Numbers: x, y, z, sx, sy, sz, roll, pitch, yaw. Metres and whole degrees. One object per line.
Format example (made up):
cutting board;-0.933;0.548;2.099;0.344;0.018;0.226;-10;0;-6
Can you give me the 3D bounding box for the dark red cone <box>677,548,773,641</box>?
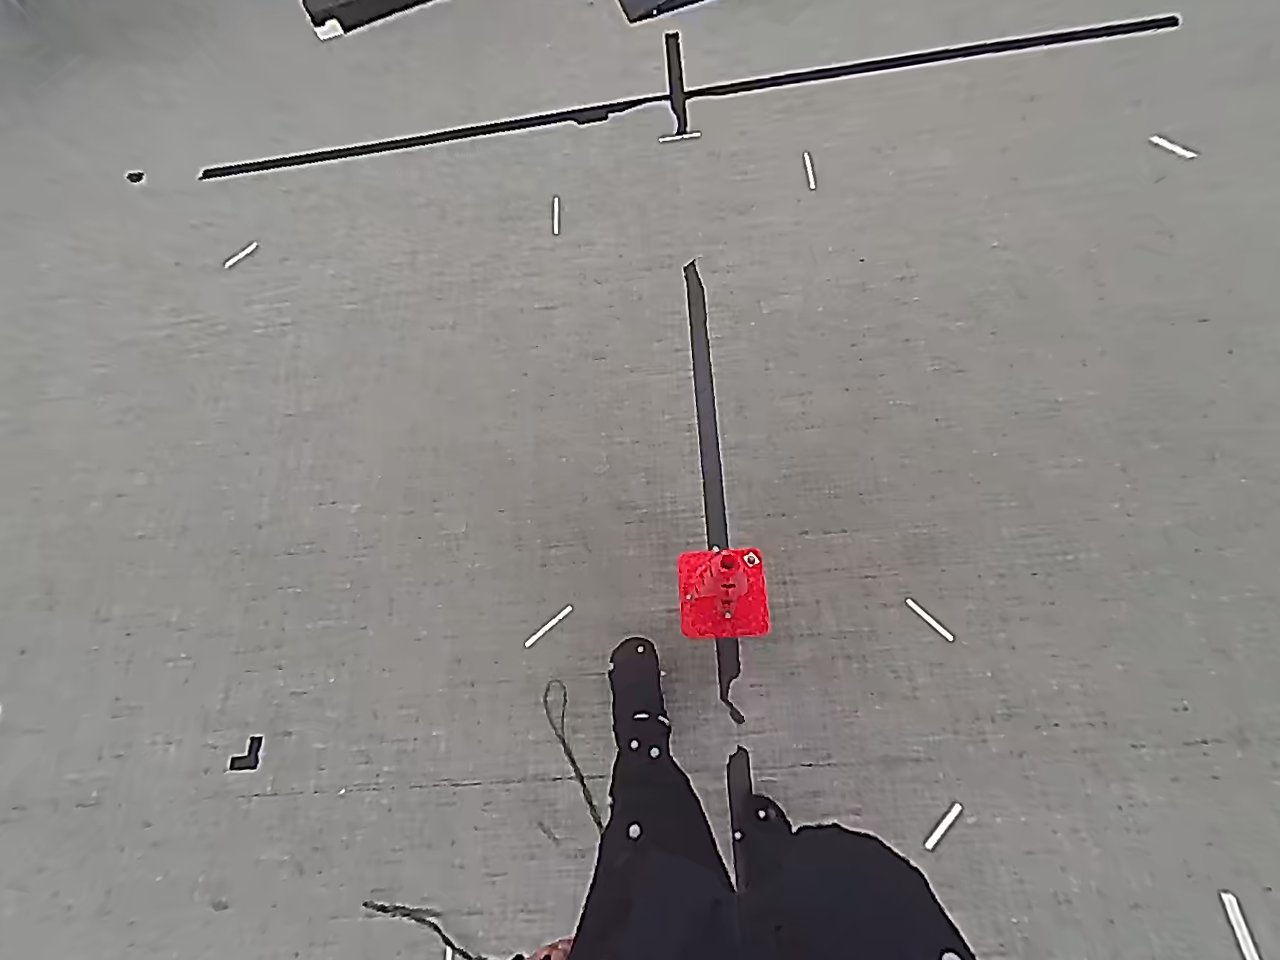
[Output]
dark red cone;0.169;0.202;1.069;0.201;0.394;0.202;-6;69;6
